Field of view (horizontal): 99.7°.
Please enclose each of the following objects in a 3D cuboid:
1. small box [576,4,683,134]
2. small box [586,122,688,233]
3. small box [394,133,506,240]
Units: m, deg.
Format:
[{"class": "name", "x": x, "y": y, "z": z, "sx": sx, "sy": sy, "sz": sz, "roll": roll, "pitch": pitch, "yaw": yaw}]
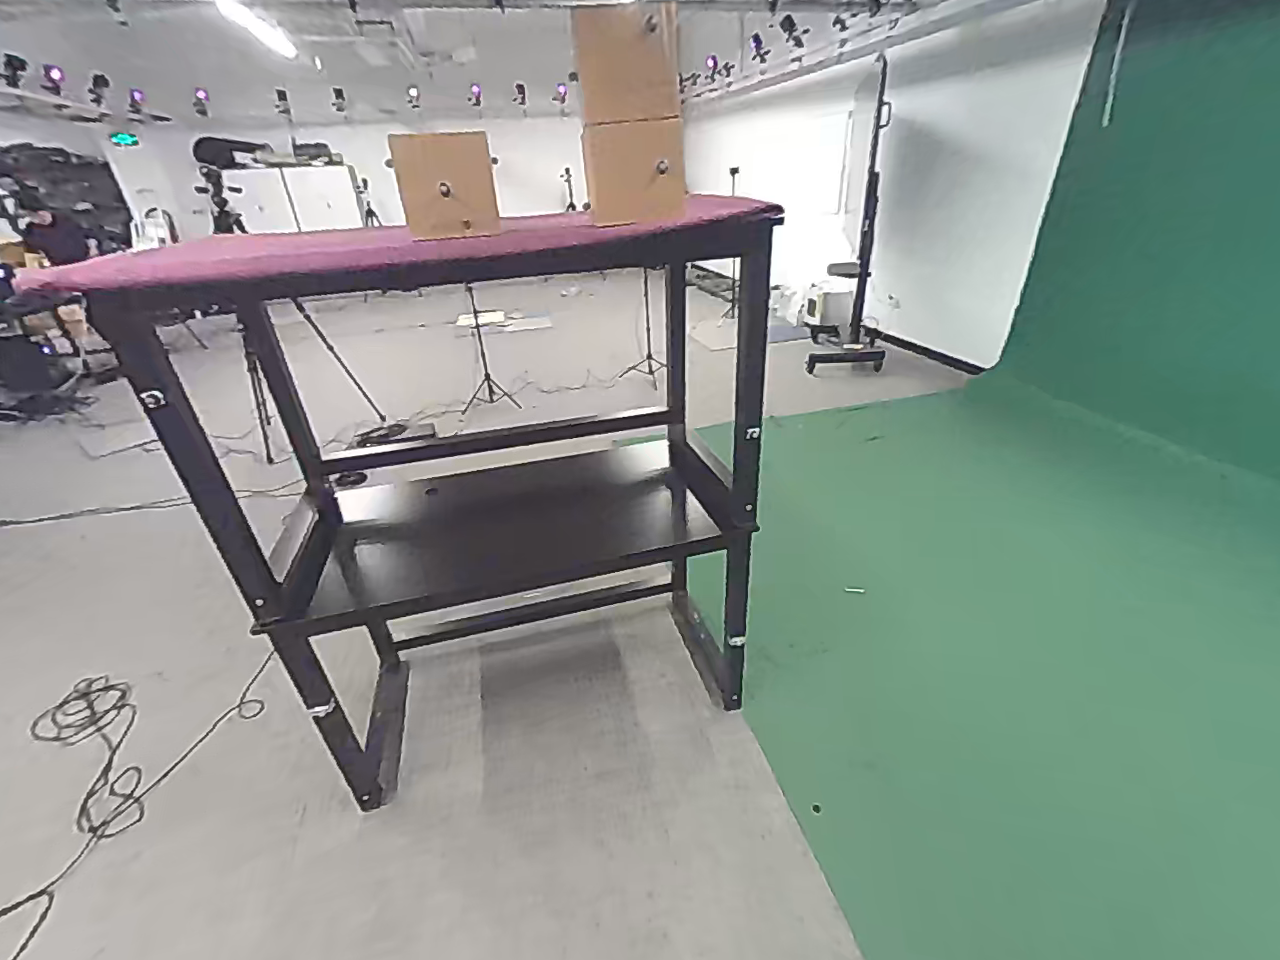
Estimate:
[{"class": "small box", "x": -0.021, "y": -0.740, "z": 1.001, "sx": 0.179, "sy": 0.176, "sz": 0.168, "roll": -6, "pitch": 27, "yaw": -4}, {"class": "small box", "x": -0.006, "y": -0.593, "z": 1.069, "sx": 0.179, "sy": 0.176, "sz": 0.168, "roll": -9, "pitch": 27, "yaw": -6}, {"class": "small box", "x": -0.352, "y": -0.555, "z": 1.033, "sx": 0.168, "sy": 0.176, "sz": 0.179, "roll": -8, "pitch": 29, "yaw": -12}]
